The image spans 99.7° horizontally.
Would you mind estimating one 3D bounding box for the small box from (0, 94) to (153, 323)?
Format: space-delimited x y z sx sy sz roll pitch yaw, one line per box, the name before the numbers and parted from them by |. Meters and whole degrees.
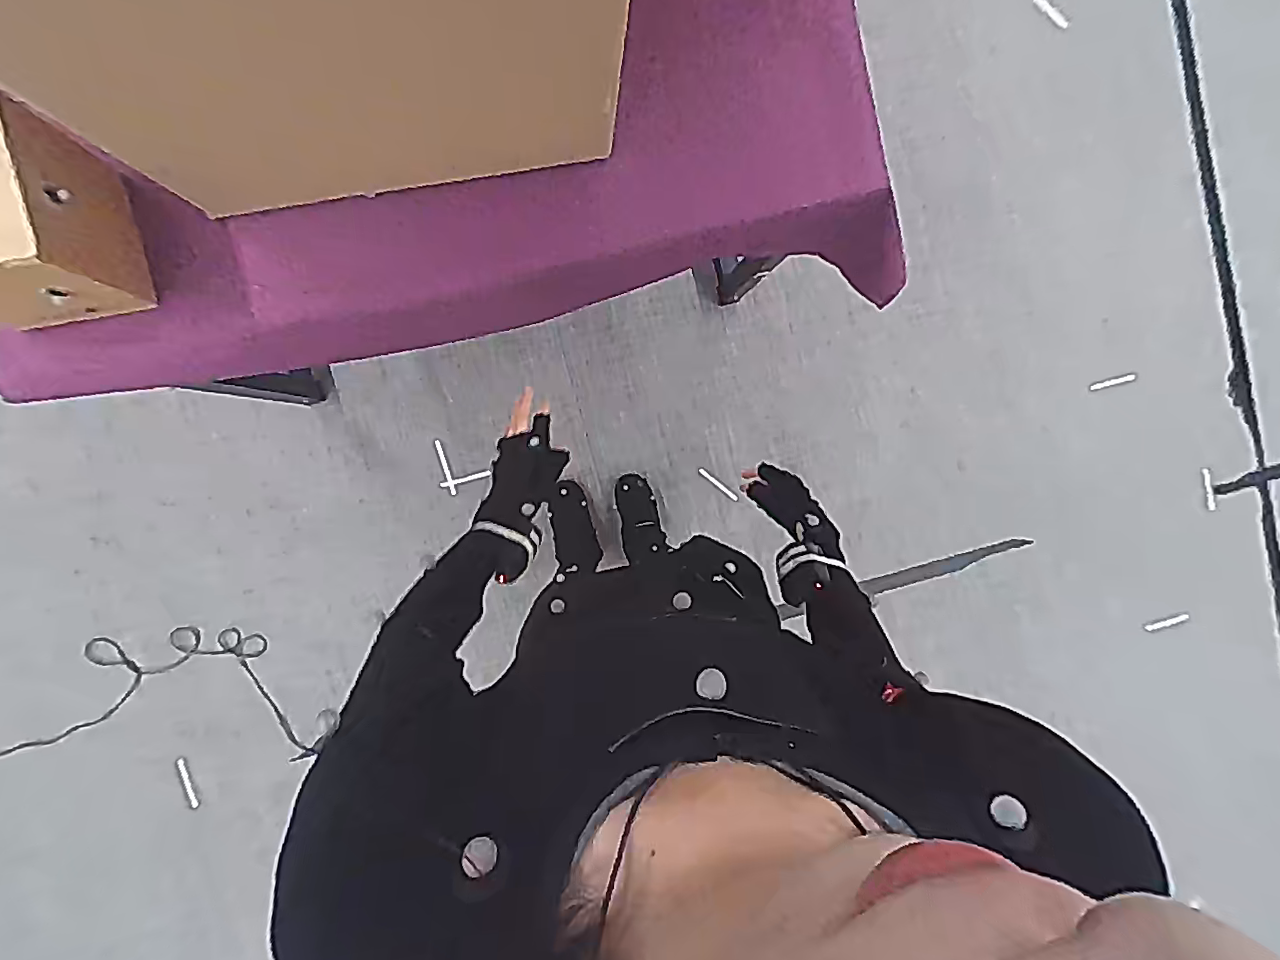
small box | -0.696 -0.284 0.595 0.168 0.176 0.179 -13 92 -9
